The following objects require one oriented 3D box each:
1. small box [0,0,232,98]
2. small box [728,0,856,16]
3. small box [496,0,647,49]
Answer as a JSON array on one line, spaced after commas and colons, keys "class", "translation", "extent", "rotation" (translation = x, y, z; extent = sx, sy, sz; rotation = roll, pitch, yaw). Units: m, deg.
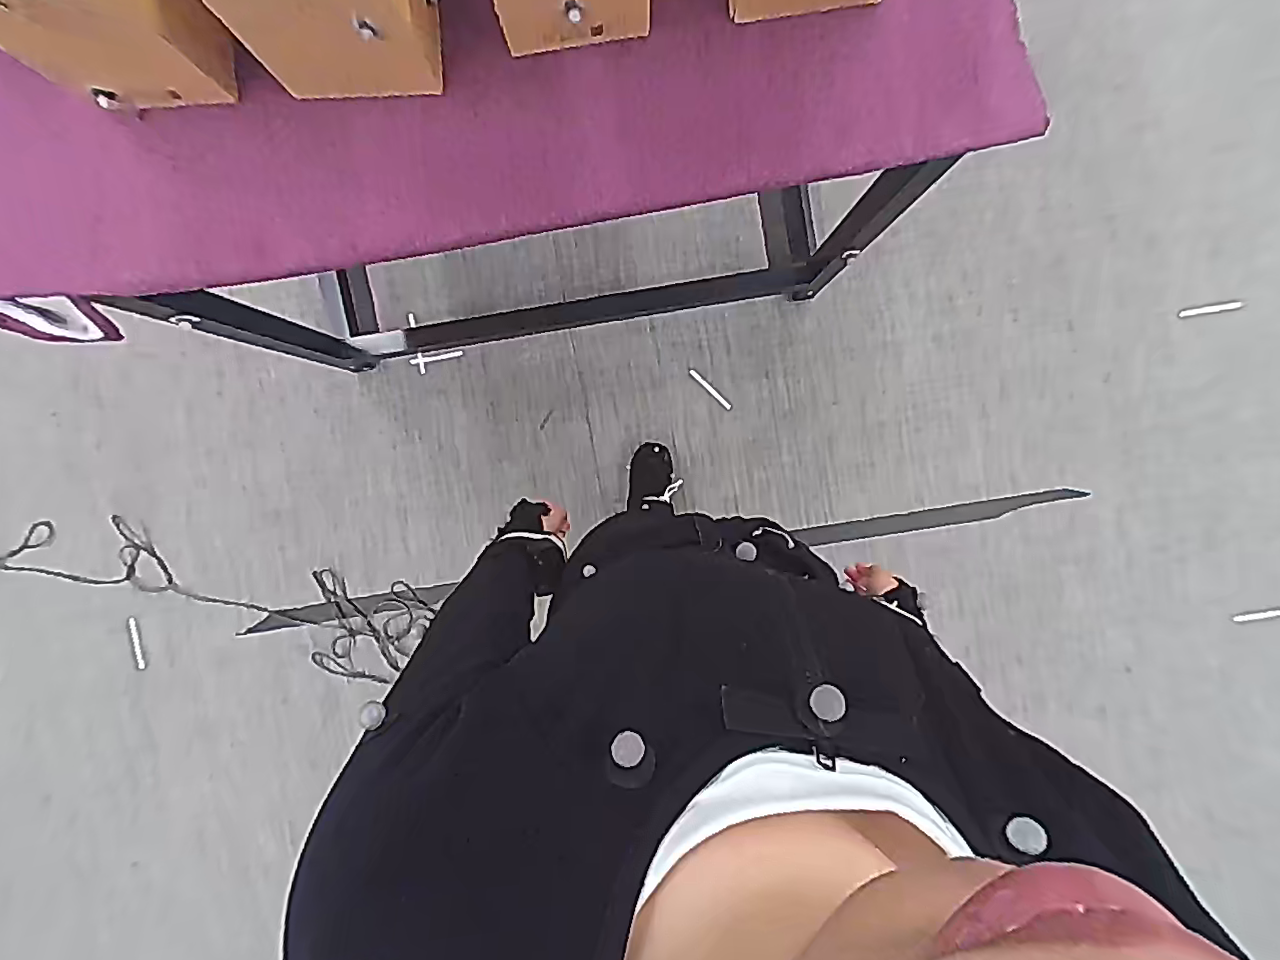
[{"class": "small box", "translation": [-0.556, -0.522, 0.548], "extent": [0.168, 0.176, 0.179], "rotation": [-4, 93, 0]}, {"class": "small box", "translation": [0.182, -0.622, 0.543], "extent": [0.179, 0.176, 0.168], "rotation": [-8, 91, 1]}, {"class": "small box", "translation": [-0.084, -0.593, 0.545], "extent": [0.168, 0.176, 0.179], "rotation": [-8, 93, 1]}]
